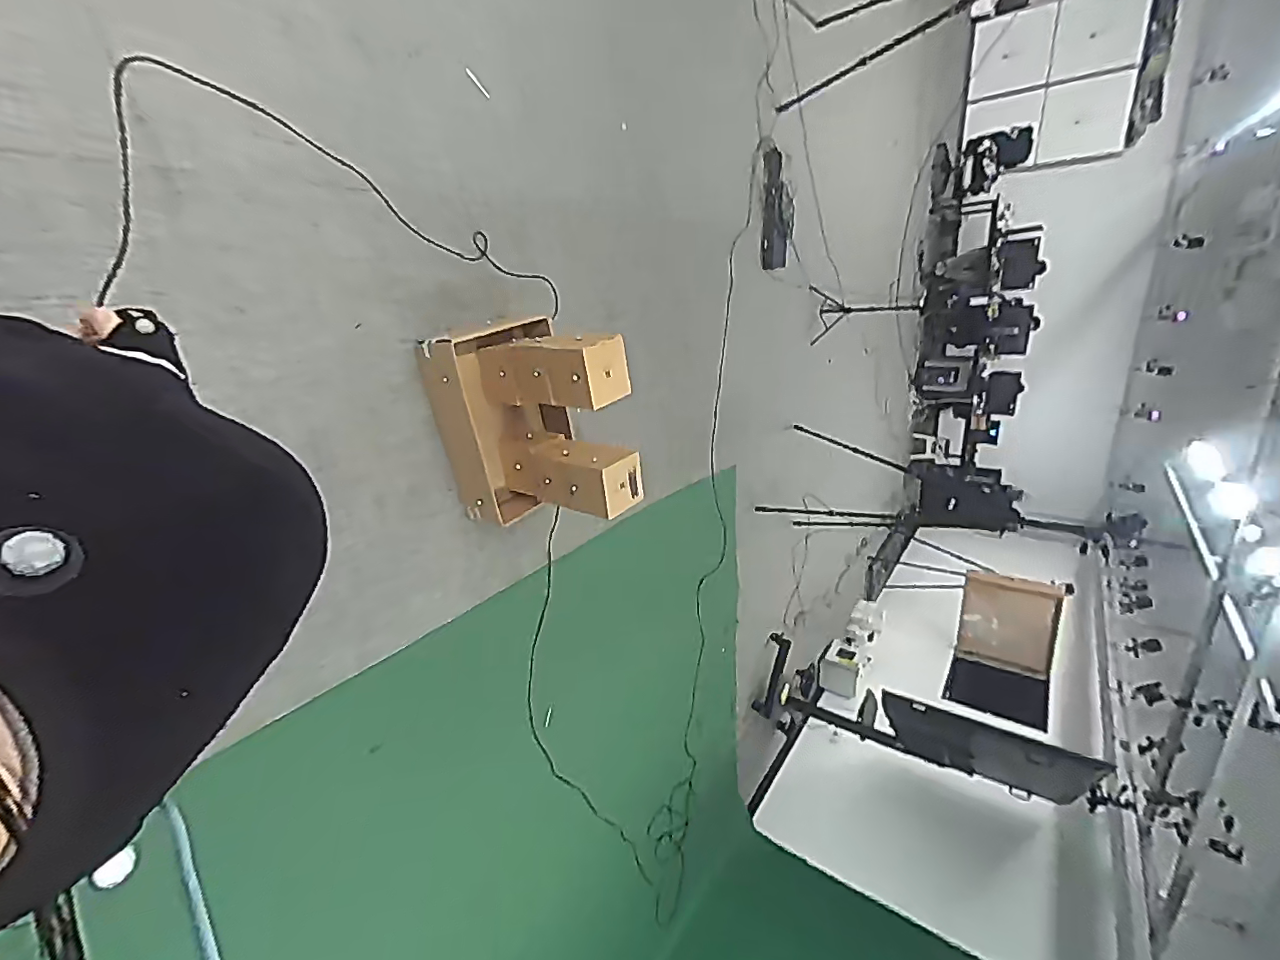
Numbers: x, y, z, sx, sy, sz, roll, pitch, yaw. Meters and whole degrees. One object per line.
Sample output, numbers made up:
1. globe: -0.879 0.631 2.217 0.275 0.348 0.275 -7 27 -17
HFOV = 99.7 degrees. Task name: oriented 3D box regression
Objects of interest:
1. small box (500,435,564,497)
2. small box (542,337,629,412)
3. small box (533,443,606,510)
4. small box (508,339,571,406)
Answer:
1. small box: -0.370 -0.054 1.896 0.168 0.176 0.179 -30 121 -46
2. small box: -0.158 -0.311 1.570 0.168 0.176 0.179 -34 124 -42
3. small box: -0.239 -0.017 1.802 0.179 0.176 0.168 -31 122 -46
4. small box: -0.285 -0.336 1.667 0.168 0.176 0.179 -29 122 -45
